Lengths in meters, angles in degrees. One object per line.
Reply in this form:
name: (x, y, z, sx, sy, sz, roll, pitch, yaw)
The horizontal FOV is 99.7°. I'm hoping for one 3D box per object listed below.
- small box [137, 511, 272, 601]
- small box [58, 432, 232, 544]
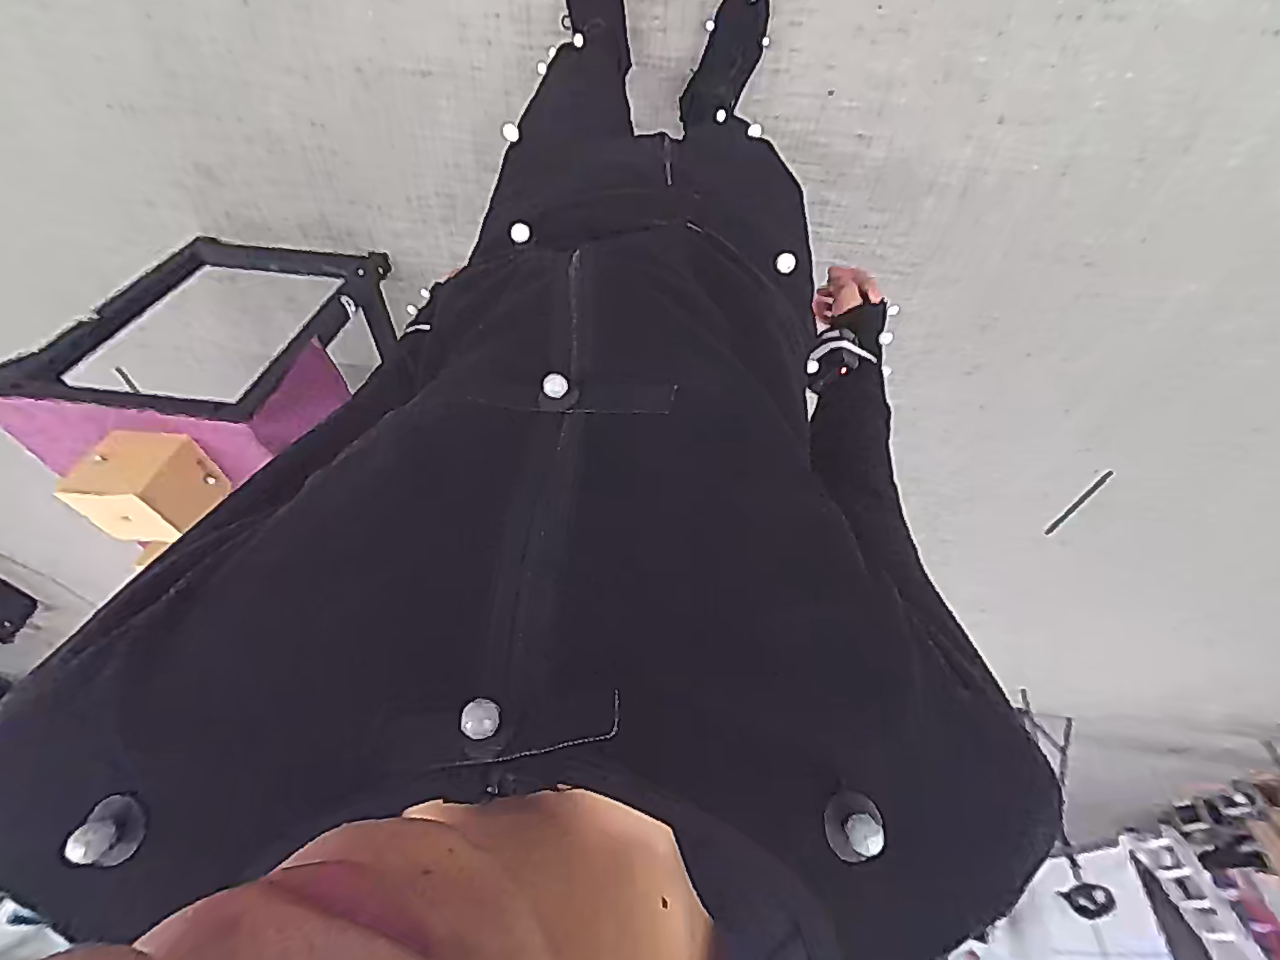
small box: (-1.069, 0.188, 1.353, 0.179, 0.176, 0.168, 0, 138, 8)
small box: (-1.032, 0.014, 1.147, 0.179, 0.176, 0.168, 4, 140, 4)
